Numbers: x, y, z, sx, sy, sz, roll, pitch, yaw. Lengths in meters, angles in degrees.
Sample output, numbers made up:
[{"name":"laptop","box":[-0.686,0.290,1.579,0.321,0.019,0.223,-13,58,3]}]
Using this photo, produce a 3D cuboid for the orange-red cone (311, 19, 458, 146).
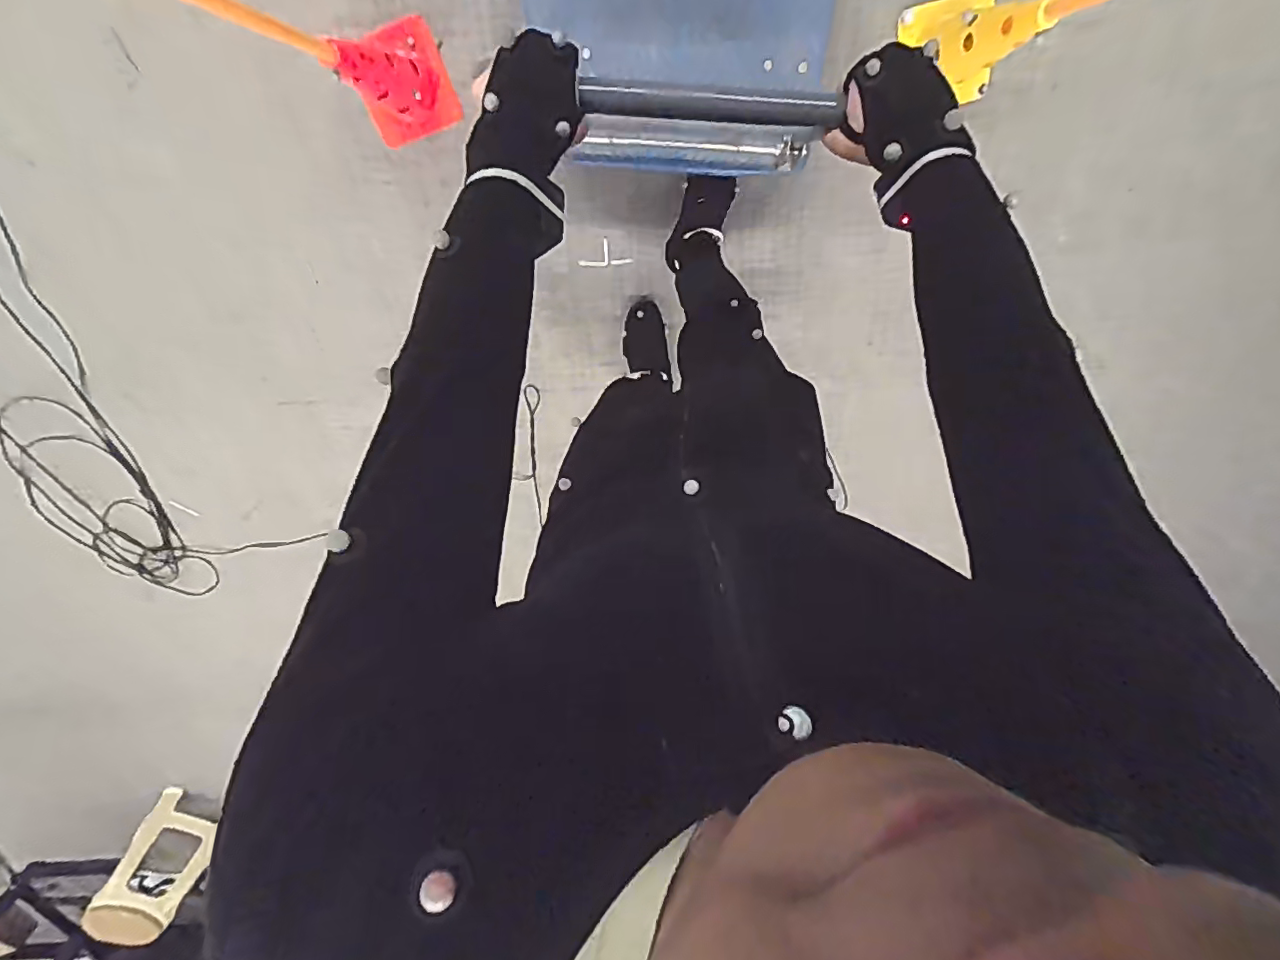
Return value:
[{"name":"orange-red cone","box":[-0.523,-0.784,1.041,0.199,0.360,0.198,-15,118,9]}]
